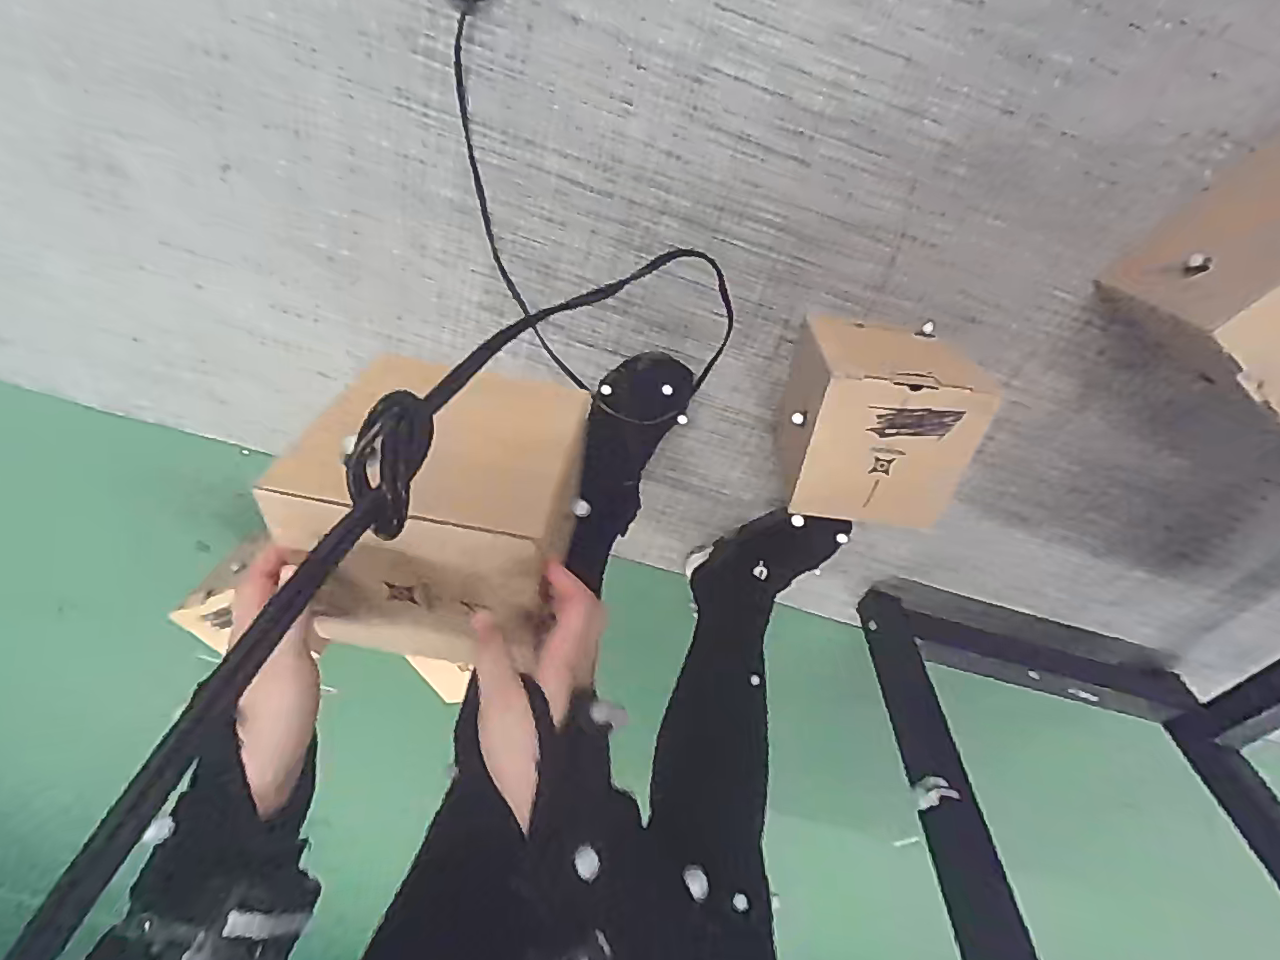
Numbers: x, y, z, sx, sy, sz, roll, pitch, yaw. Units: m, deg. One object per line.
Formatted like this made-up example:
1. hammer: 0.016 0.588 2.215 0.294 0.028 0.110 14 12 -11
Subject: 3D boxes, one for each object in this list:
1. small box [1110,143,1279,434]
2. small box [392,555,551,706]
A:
1. small box: 0.601 -0.180 0.506 0.168 0.176 0.179 33 121 -16
2. small box: -0.270 0.254 0.918 0.168 0.176 0.179 -13 122 16
